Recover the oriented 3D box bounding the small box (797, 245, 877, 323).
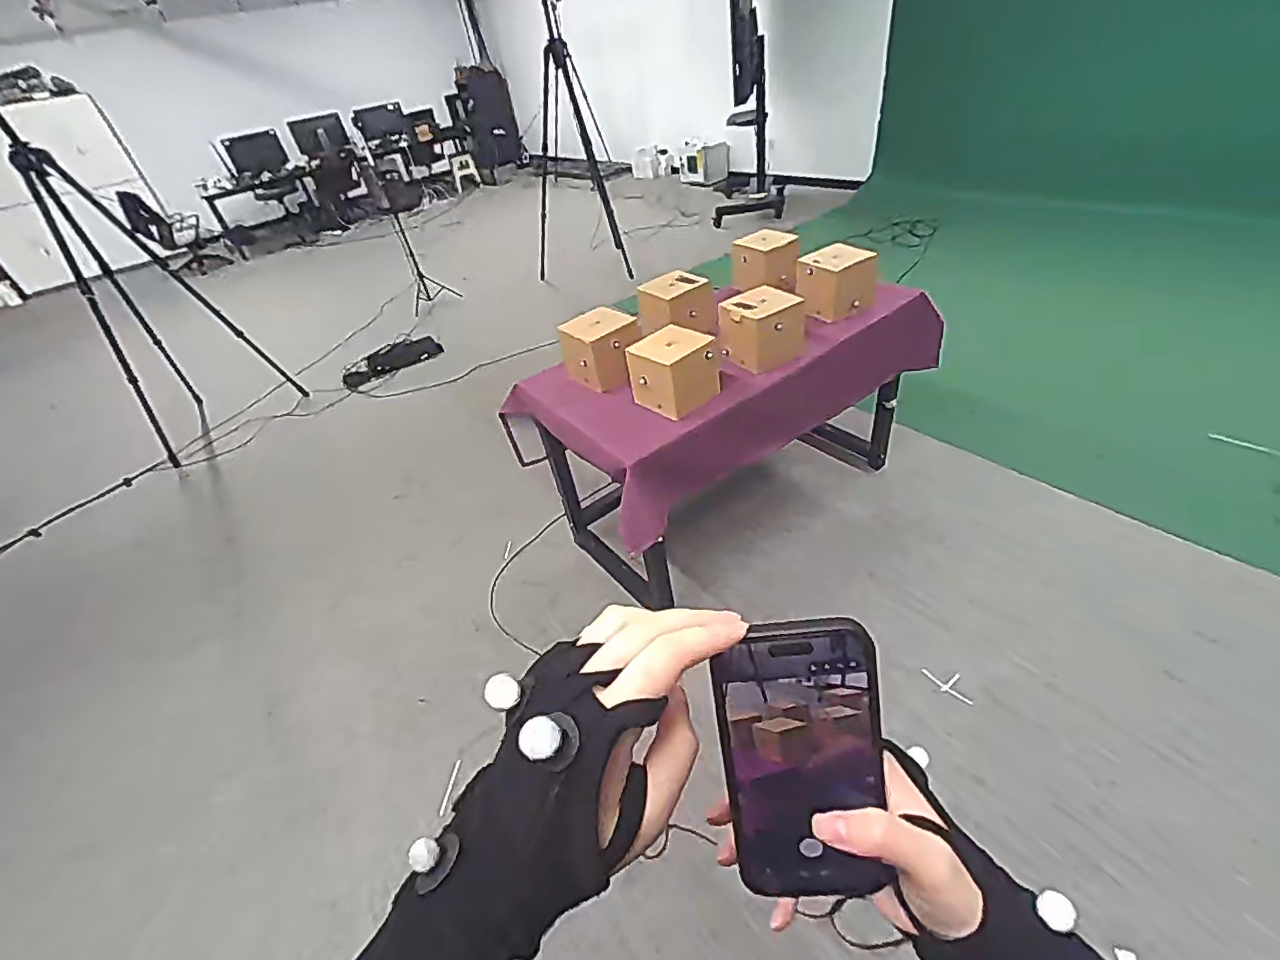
[{"bbox_3d":[0.615,-0.624,1.718,0.179,0.176,0.168,-26,42,-18],"label":"small box"}]

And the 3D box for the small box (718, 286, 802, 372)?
[{"bbox_3d":[0.345,-0.432,1.552,0.179,0.176,0.168,-26,42,-19],"label":"small box"}]

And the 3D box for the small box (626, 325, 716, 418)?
[{"bbox_3d":[0.090,-0.288,1.441,0.179,0.176,0.168,-35,45,-28],"label":"small box"}]

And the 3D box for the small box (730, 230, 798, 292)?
[{"bbox_3d":[0.440,-0.773,1.932,0.168,0.176,0.179,-29,44,-20],"label":"small box"}]
